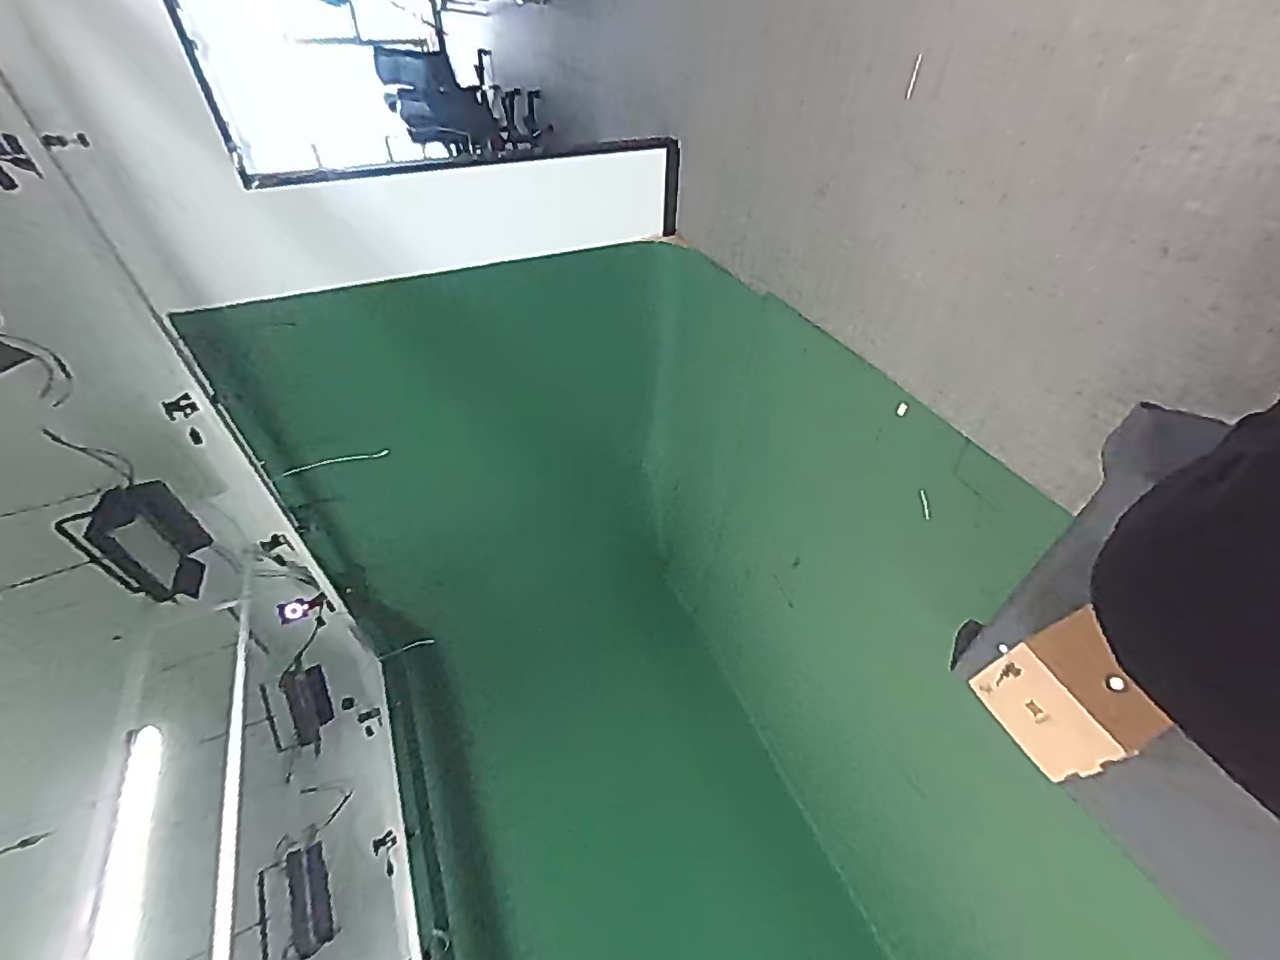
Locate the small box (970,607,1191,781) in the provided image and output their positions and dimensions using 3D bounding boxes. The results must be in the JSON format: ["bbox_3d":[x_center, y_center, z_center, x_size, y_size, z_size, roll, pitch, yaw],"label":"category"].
[{"bbox_3d":[0.684,0.333,0.852,0.179,0.176,0.168,58,156,35],"label":"small box"}]
